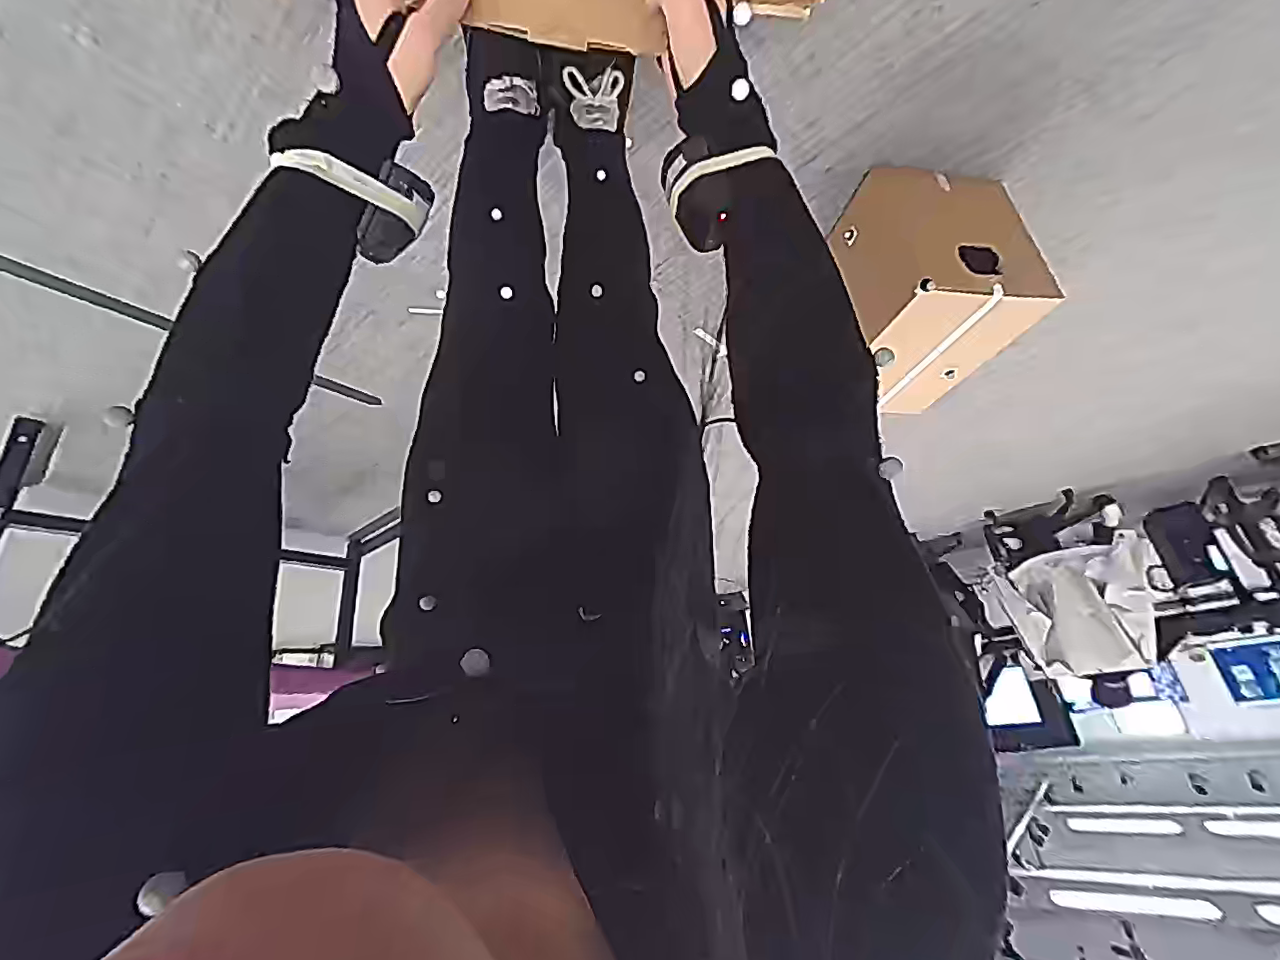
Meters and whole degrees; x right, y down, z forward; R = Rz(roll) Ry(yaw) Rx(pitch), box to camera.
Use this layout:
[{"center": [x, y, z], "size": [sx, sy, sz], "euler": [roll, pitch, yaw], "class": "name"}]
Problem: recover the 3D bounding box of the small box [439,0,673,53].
[{"center": [-0.051, -0.435, 0.348], "size": [0.168, 0.176, 0.179], "euler": [-3, 161, -15], "class": "small box"}]
